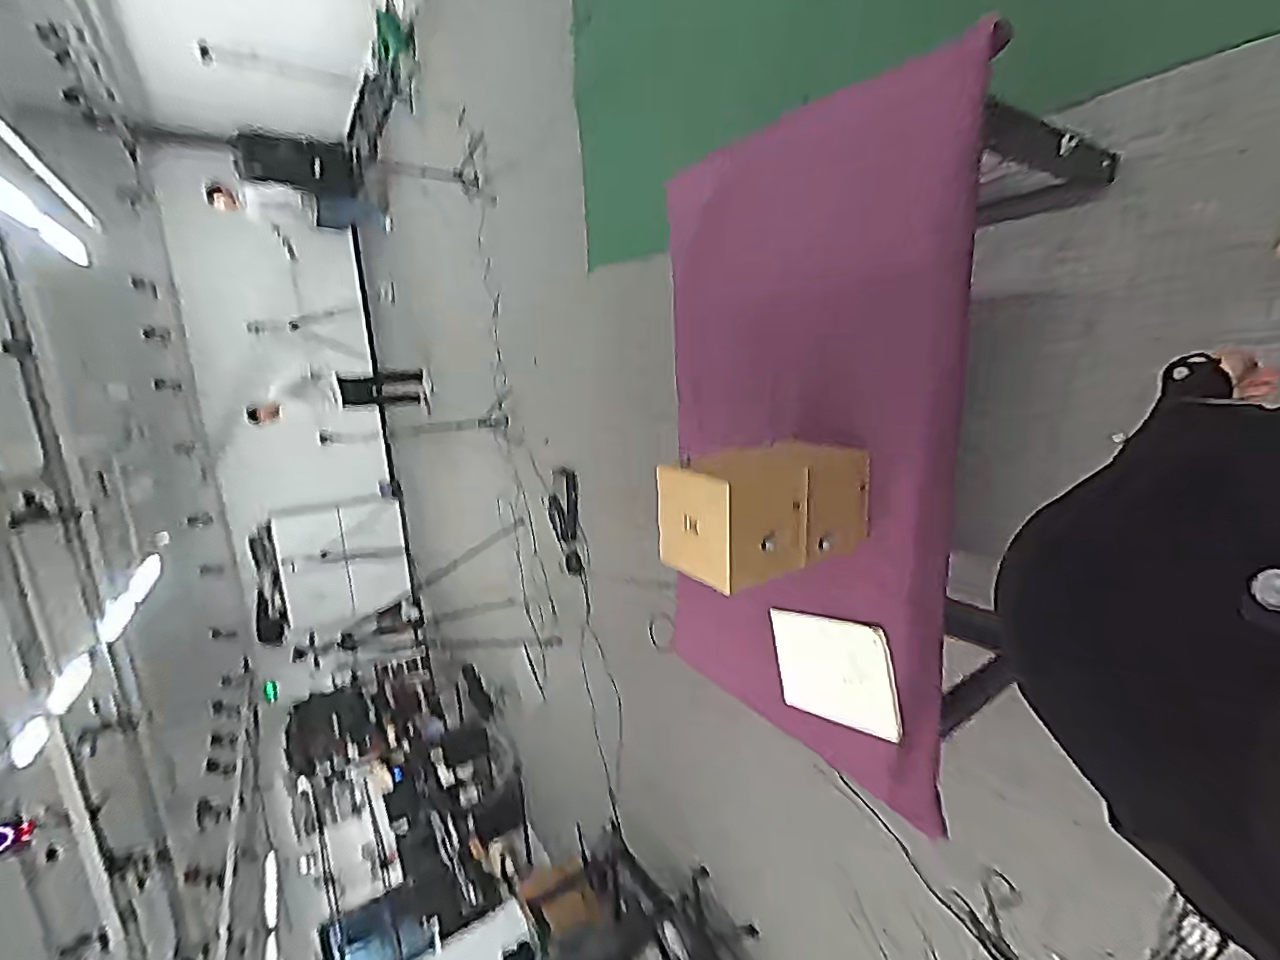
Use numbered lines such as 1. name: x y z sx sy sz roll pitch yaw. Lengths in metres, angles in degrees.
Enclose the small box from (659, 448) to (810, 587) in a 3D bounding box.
1. small box: 0.152 0.048 0.862 0.179 0.176 0.168 17 114 56
